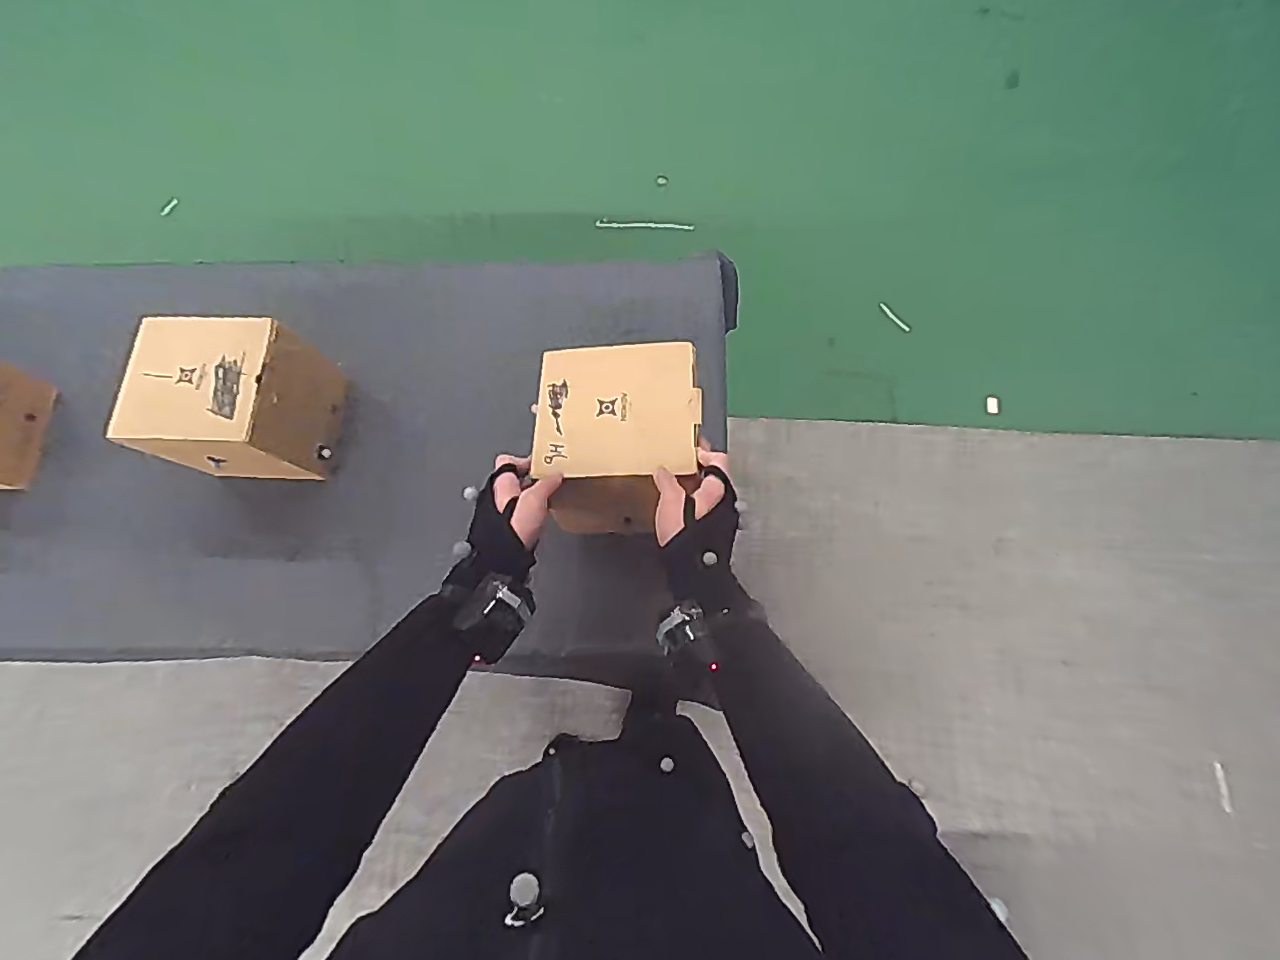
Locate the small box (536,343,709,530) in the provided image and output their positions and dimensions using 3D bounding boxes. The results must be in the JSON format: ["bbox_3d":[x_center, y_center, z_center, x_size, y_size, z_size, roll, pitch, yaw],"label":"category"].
[{"bbox_3d":[-0.012,-0.045,0.648,0.179,0.176,0.168,0,64,4],"label":"small box"}]

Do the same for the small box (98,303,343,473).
[{"bbox_3d":[-0.532,-0.111,0.717,0.179,0.176,0.168,3,74,2],"label":"small box"}]

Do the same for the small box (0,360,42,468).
[{"bbox_3d":[-0.984,-0.102,0.720,0.179,0.176,0.168,1,73,2],"label":"small box"}]
